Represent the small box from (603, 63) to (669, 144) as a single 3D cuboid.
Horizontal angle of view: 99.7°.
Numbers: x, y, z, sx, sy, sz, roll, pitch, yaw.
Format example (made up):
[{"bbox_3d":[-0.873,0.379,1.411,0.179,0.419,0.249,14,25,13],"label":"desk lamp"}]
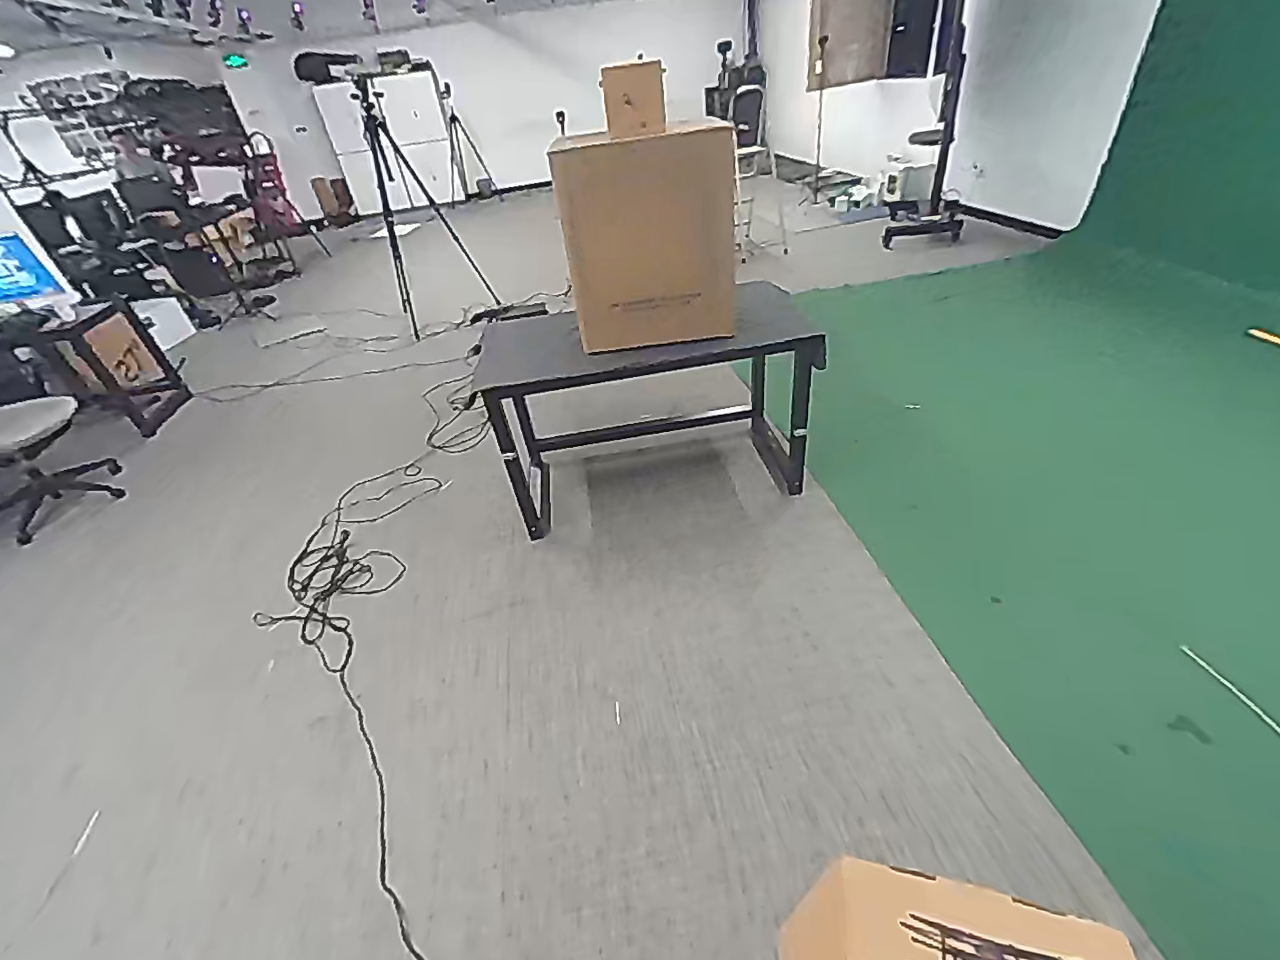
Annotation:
[{"bbox_3d":[-0.007,-1.081,1.556,0.168,0.176,0.179,-5,39,5],"label":"small box"}]
